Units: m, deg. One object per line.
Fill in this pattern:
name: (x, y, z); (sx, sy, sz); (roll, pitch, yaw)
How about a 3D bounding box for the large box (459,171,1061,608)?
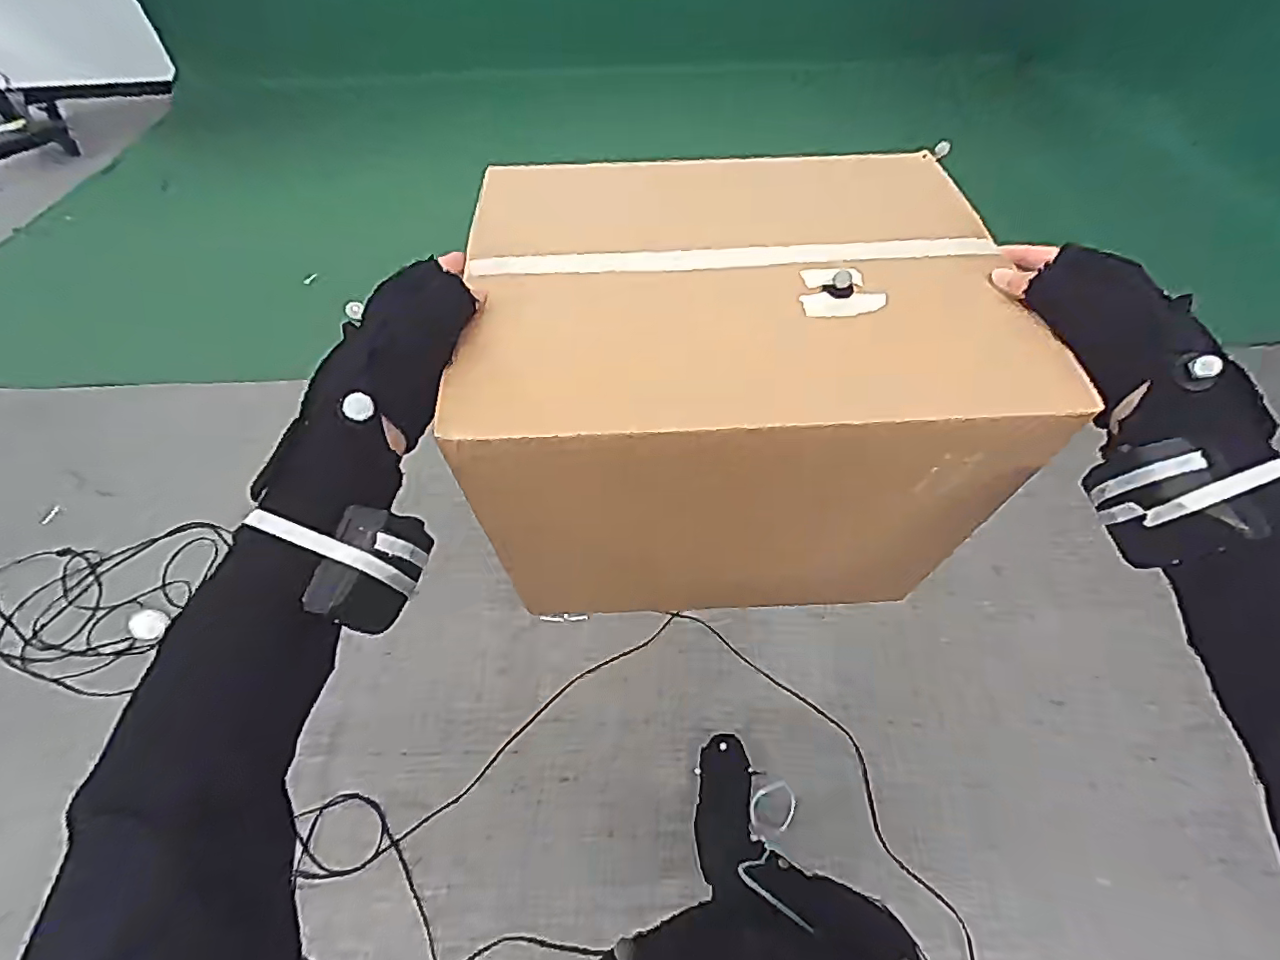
large box: (0.072, -0.078, 0.553); (0.408, 0.320, 0.320); (-2, 57, -1)
